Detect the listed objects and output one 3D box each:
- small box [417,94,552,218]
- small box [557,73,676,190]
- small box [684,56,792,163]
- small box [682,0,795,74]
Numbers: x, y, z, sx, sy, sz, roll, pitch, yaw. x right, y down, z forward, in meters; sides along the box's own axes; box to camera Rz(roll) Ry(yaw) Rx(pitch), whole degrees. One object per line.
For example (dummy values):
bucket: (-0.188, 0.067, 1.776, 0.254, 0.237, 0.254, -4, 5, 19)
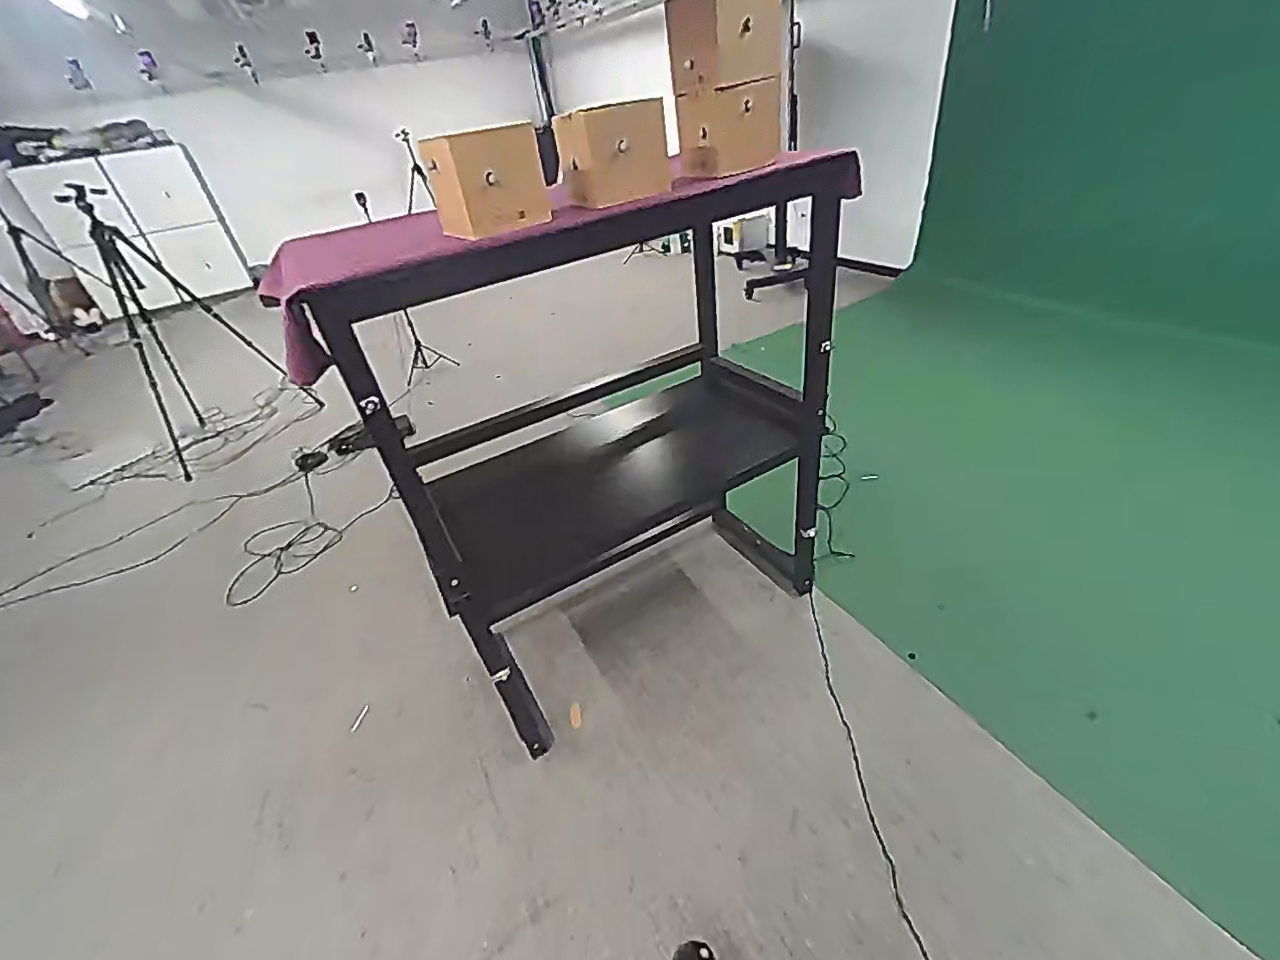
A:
small box: (-0.281, -0.593, 0.998, 0.168, 0.176, 0.179, -27, 39, -23)
small box: (-0.044, -0.693, 1.084, 0.179, 0.176, 0.168, -23, 39, -18)
small box: (0.218, -0.814, 1.197, 0.179, 0.176, 0.168, -21, 38, -16)
small box: (0.197, -0.943, 1.099, 0.179, 0.176, 0.168, -27, 40, -20)
